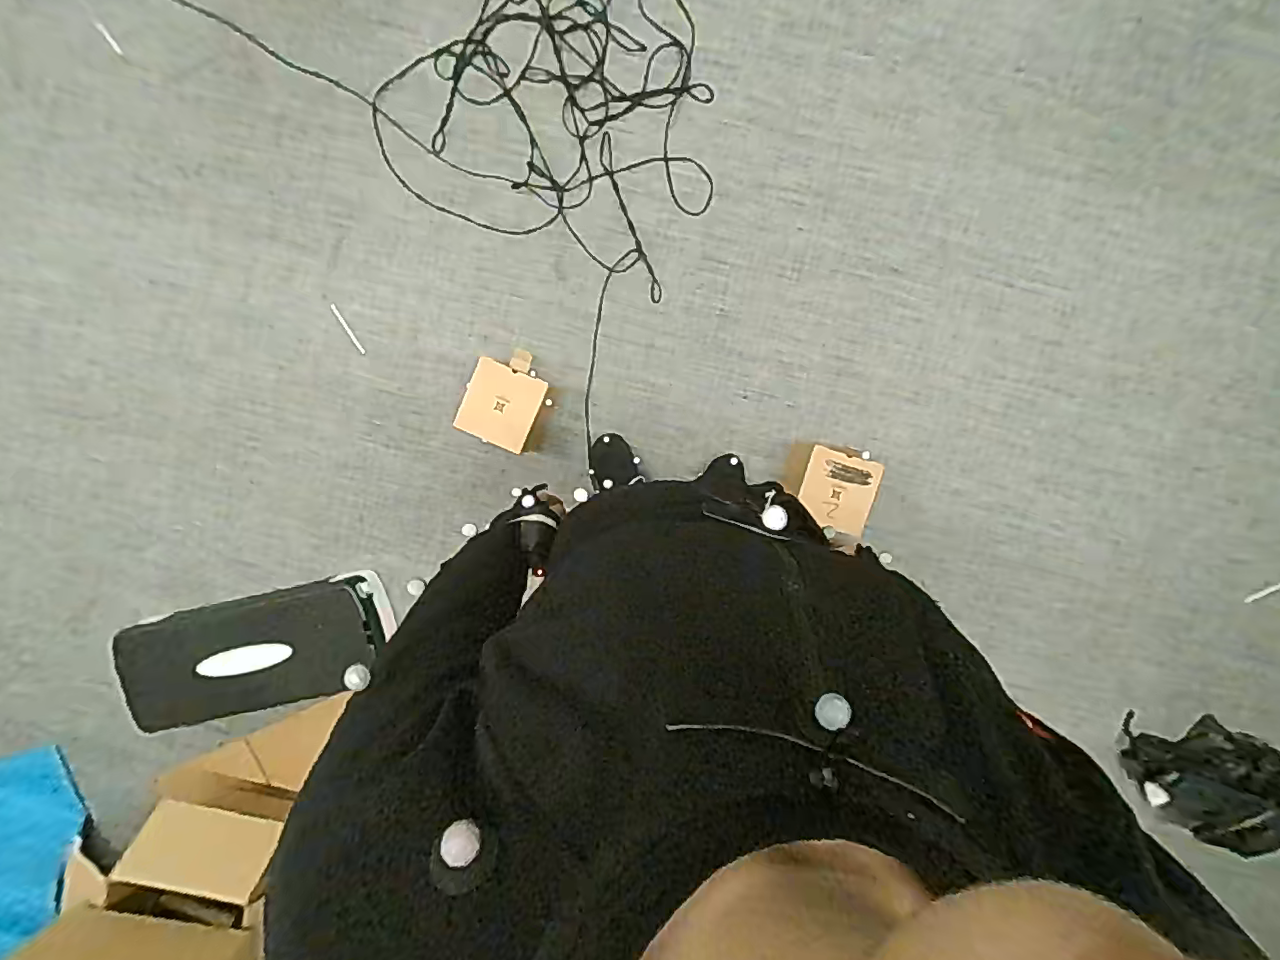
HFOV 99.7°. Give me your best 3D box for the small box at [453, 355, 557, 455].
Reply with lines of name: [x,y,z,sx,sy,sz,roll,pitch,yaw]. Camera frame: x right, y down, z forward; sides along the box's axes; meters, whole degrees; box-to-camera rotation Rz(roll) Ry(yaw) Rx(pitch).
small box: [-0.308,-0.171,1.274,0.168,0.176,0.179,23,94,-2]
